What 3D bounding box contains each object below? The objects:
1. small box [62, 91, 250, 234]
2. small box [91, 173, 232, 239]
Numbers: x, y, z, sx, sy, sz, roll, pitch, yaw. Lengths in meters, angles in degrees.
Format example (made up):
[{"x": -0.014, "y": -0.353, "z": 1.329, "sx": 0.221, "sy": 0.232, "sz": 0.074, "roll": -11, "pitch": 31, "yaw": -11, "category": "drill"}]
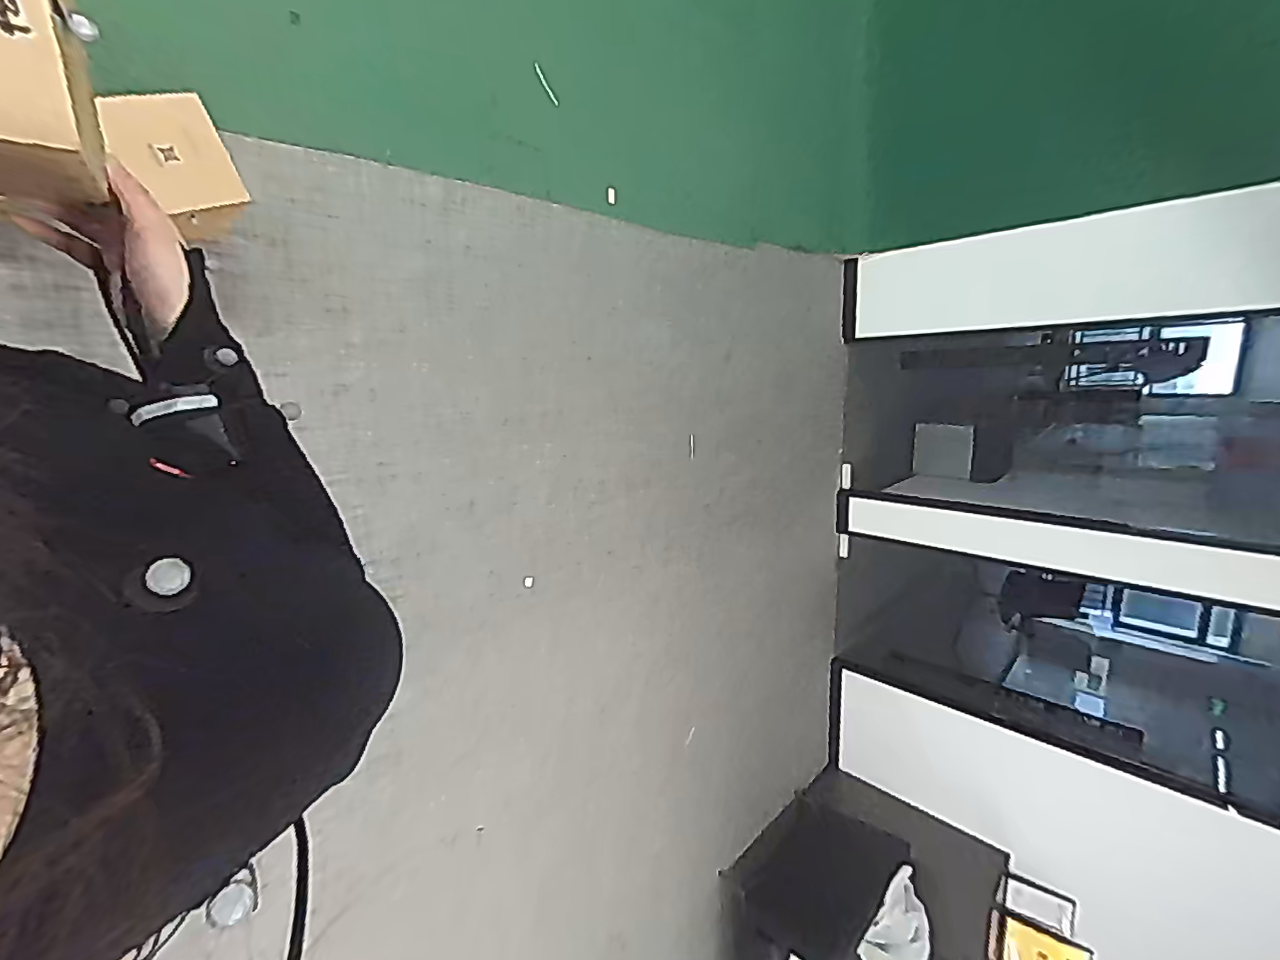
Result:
[{"x": -0.813, "y": -0.531, "z": 0.916, "sx": 0.179, "sy": 0.176, "sz": 0.168, "roll": -37, "pitch": 124, "yaw": -36, "category": "small box"}, {"x": -0.922, "y": -0.564, "z": 1.033, "sx": 0.179, "sy": 0.176, "sz": 0.168, "roll": -22, "pitch": 113, "yaw": -41, "category": "small box"}]
